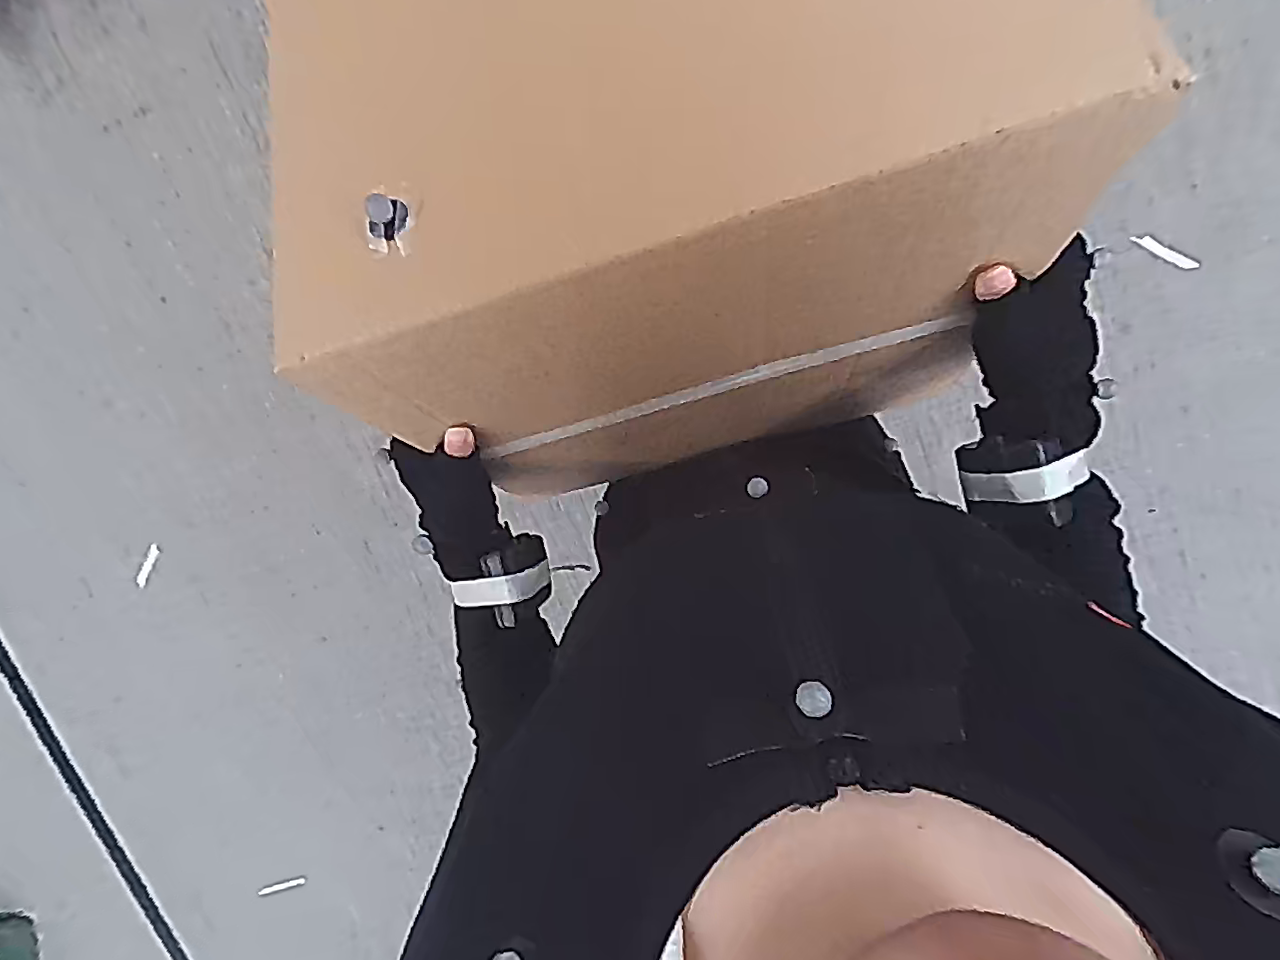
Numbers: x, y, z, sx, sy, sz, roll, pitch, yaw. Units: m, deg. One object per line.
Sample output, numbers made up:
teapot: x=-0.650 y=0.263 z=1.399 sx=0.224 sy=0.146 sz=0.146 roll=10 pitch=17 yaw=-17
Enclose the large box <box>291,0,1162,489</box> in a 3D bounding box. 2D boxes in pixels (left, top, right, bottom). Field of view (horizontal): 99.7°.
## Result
large box: x=0.016 y=-0.218 z=0.424 sx=0.408 sy=0.320 sz=0.320 roll=-14 pitch=74 yaw=8
